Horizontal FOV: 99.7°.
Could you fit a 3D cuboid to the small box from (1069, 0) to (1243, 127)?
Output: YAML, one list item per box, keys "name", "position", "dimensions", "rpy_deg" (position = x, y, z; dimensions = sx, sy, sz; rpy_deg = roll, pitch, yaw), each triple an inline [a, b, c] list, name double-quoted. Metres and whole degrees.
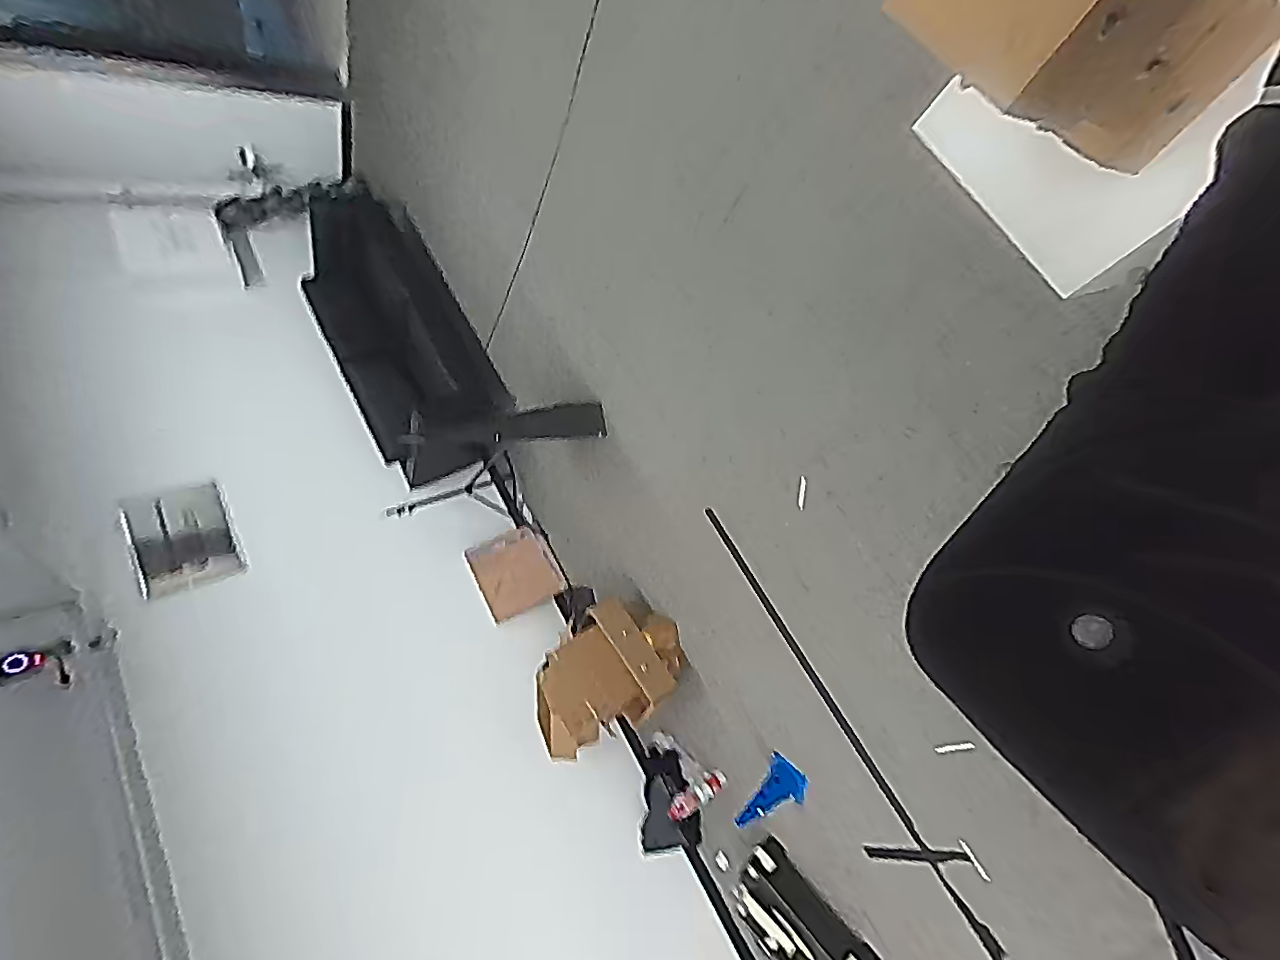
- name: "small box"
  position: [0.478, -0.494, 0.555]
  dimensions: [0.179, 0.176, 0.168]
  rpy_deg: [57, 143, 20]

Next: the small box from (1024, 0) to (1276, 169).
- name: "small box"
  position: [0.603, -0.510, 0.662]
  dimensions: [0.168, 0.176, 0.179]
  rpy_deg: [56, 142, 20]

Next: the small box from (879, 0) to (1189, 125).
- name: "small box"
  position: [0.355, -0.438, 0.459]
  dimensions: [0.168, 0.176, 0.179]
  rpy_deg: [58, 143, 18]
